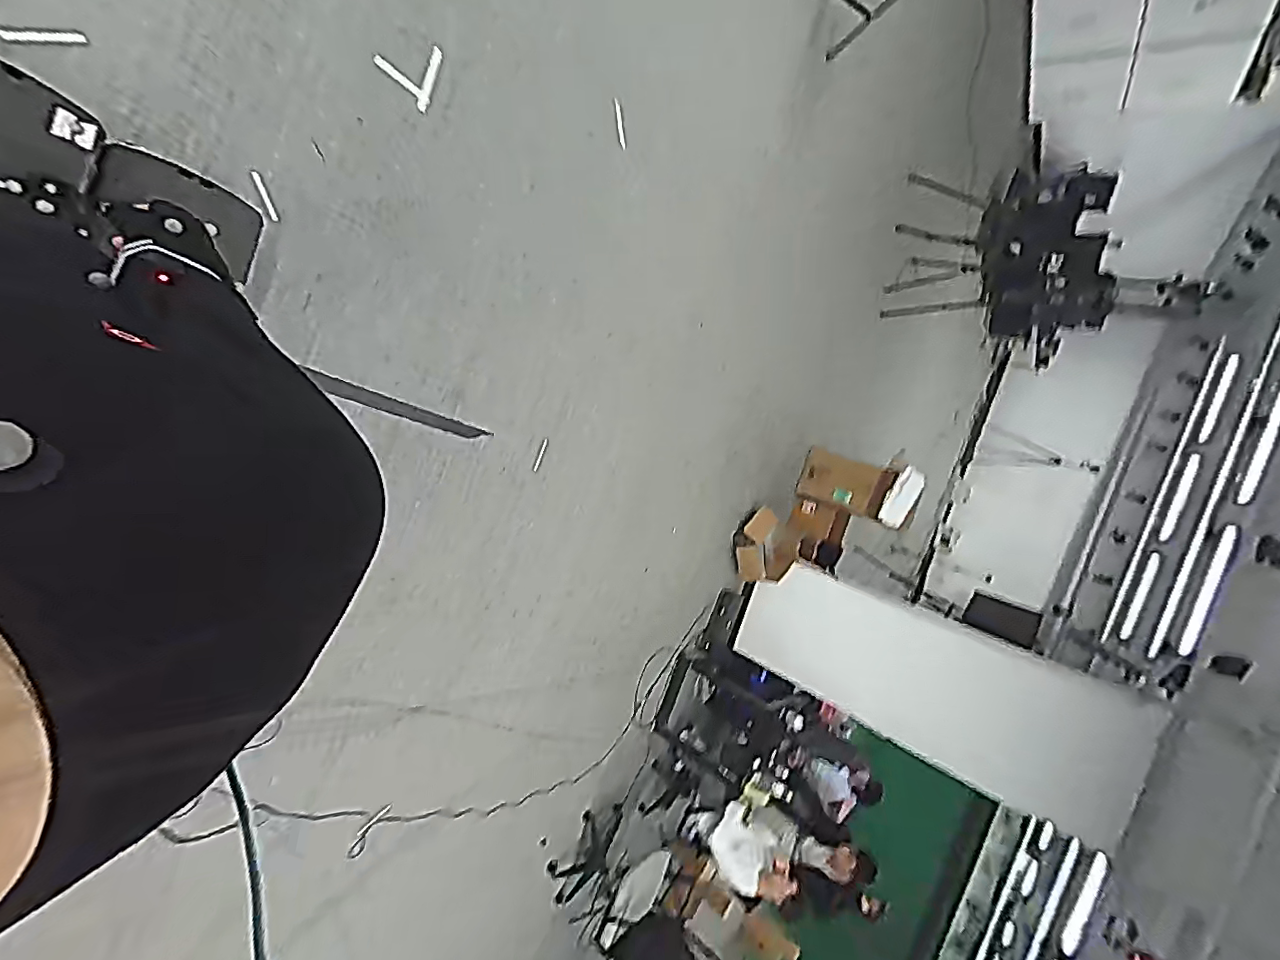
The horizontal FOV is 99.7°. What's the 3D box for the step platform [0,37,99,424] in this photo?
[{"bbox_3d":[-1.220,-0.435,0.934,0.286,0.204,0.684,16,93,-54],"label":"step platform"}]
